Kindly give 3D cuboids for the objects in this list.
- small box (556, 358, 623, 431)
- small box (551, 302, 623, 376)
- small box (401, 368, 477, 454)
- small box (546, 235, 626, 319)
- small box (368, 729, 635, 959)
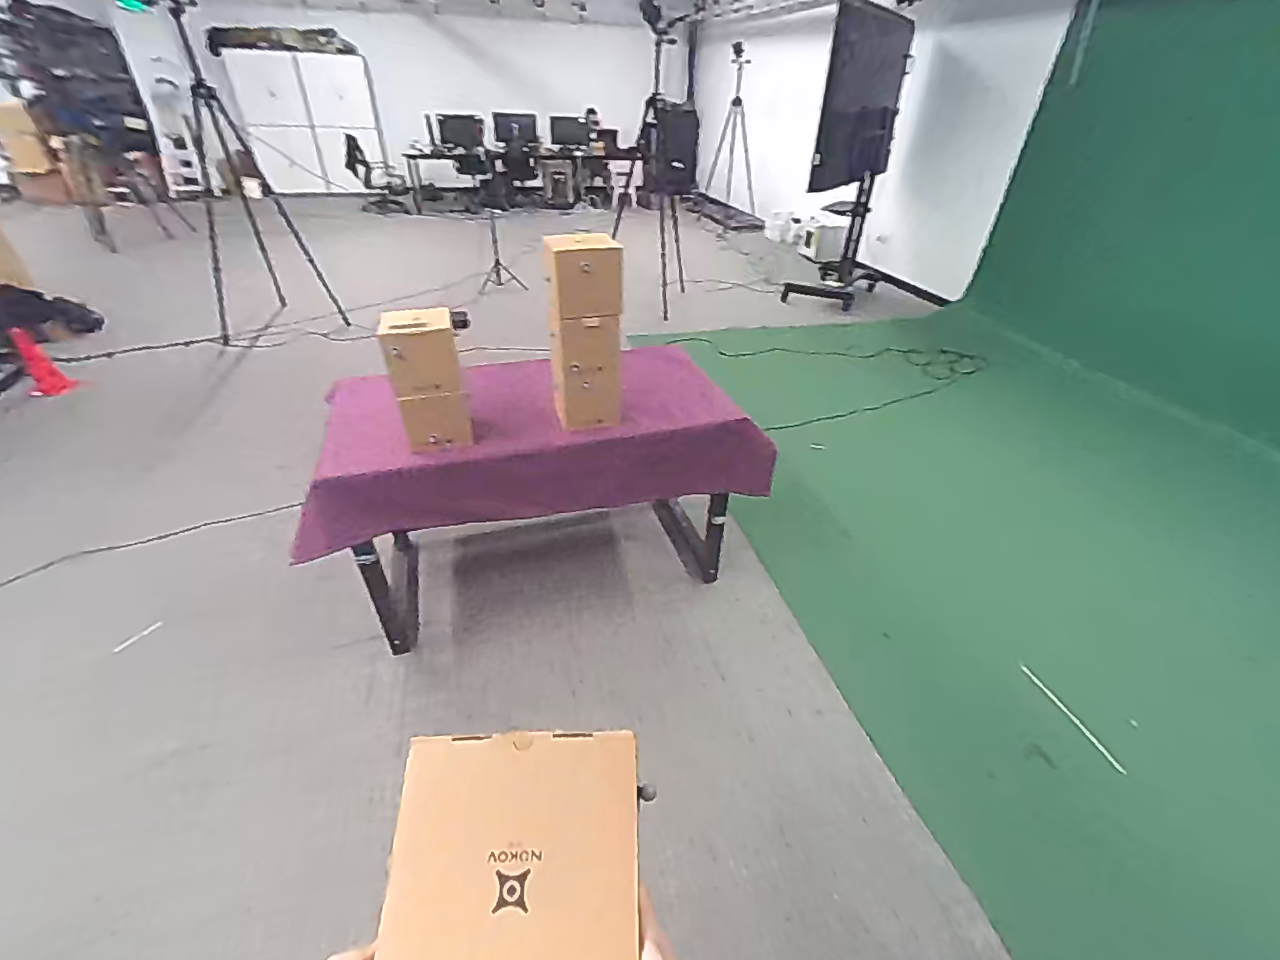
[{"bbox_3d":[-0.151,-0.262,1.604,0.168,0.176,0.179,-11,37,-14],"label":"small box"},{"bbox_3d":[-0.146,-0.397,1.509,0.168,0.176,0.179,-10,37,-16],"label":"small box"},{"bbox_3d":[-0.551,-0.193,1.493,0.168,0.176,0.179,-9,38,-14],"label":"small box"},{"bbox_3d":[-0.140,-0.528,1.410,0.179,0.176,0.168,-9,38,-15],"label":"small box"},{"bbox_3d":[-0.089,0.301,0.427,0.168,0.176,0.179,-2,60,-2],"label":"small box"}]
